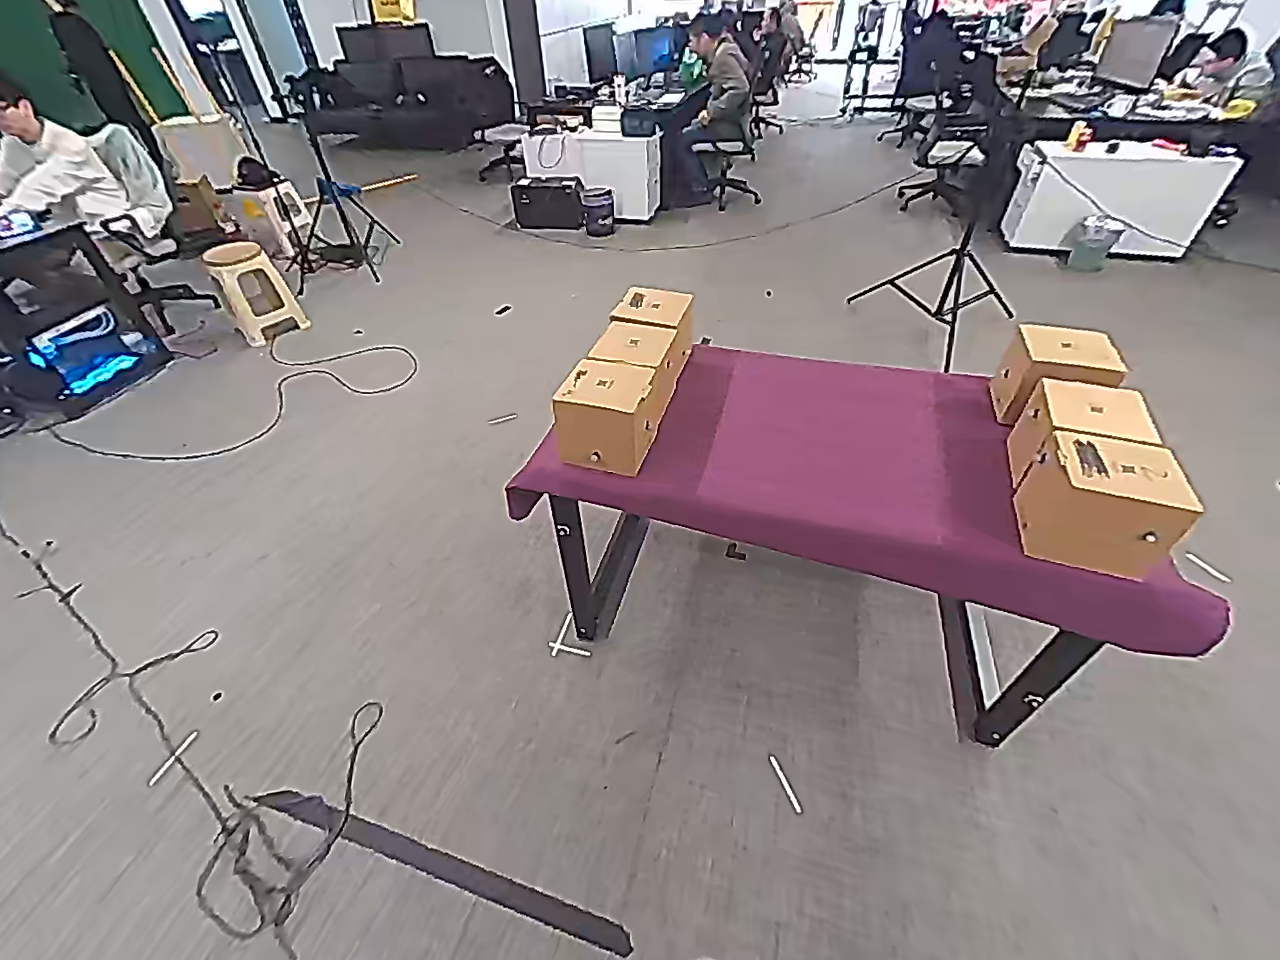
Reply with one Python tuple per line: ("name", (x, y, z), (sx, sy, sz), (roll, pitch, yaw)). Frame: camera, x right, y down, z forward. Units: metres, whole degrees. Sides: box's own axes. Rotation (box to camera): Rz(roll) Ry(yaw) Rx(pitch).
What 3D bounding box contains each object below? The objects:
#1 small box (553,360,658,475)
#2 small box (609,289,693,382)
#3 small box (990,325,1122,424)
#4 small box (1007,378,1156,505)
("small box", (-0.068, -0.132, 1.166), (0.179, 0.176, 0.168), (12, 44, 13))
("small box", (0.032, -0.378, 1.420), (0.179, 0.176, 0.168), (13, 47, 14))
("small box", (0.920, -0.228, 1.220), (0.179, 0.176, 0.168), (12, 46, 14))
("small box", (0.855, -0.075, 1.070), (0.168, 0.176, 0.179), (13, 45, 17))
